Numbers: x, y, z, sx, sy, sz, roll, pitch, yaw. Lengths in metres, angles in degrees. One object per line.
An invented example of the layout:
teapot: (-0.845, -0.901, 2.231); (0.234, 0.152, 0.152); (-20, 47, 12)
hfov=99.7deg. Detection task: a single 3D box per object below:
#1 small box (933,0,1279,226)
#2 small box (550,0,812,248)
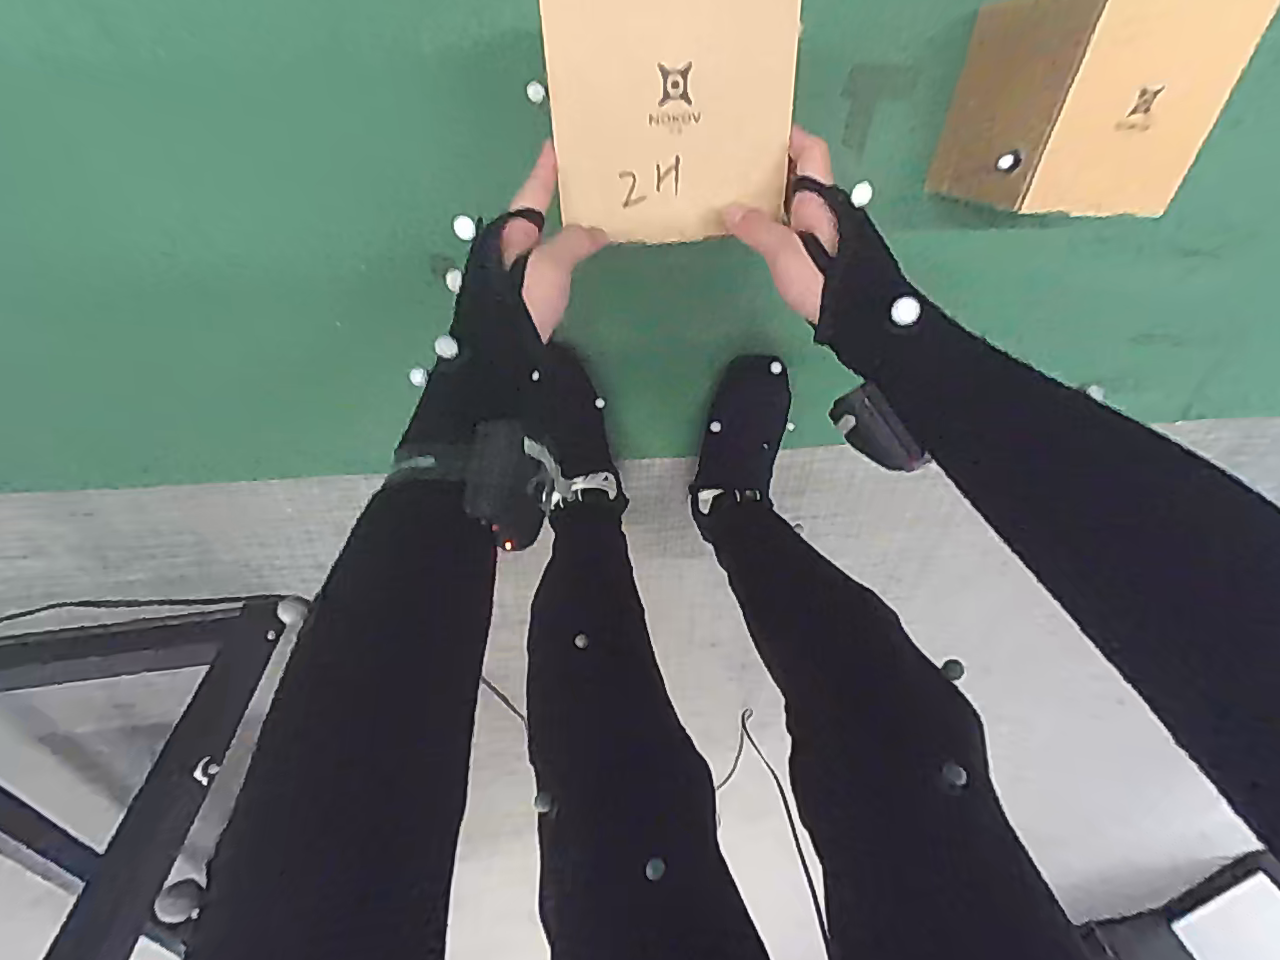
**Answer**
small box: (0.440, -0.373, 0.552); (0.168, 0.176, 0.179); (-2, 127, -9)
small box: (0.018, -0.289, 0.425); (0.168, 0.176, 0.179); (-5, 121, -4)
